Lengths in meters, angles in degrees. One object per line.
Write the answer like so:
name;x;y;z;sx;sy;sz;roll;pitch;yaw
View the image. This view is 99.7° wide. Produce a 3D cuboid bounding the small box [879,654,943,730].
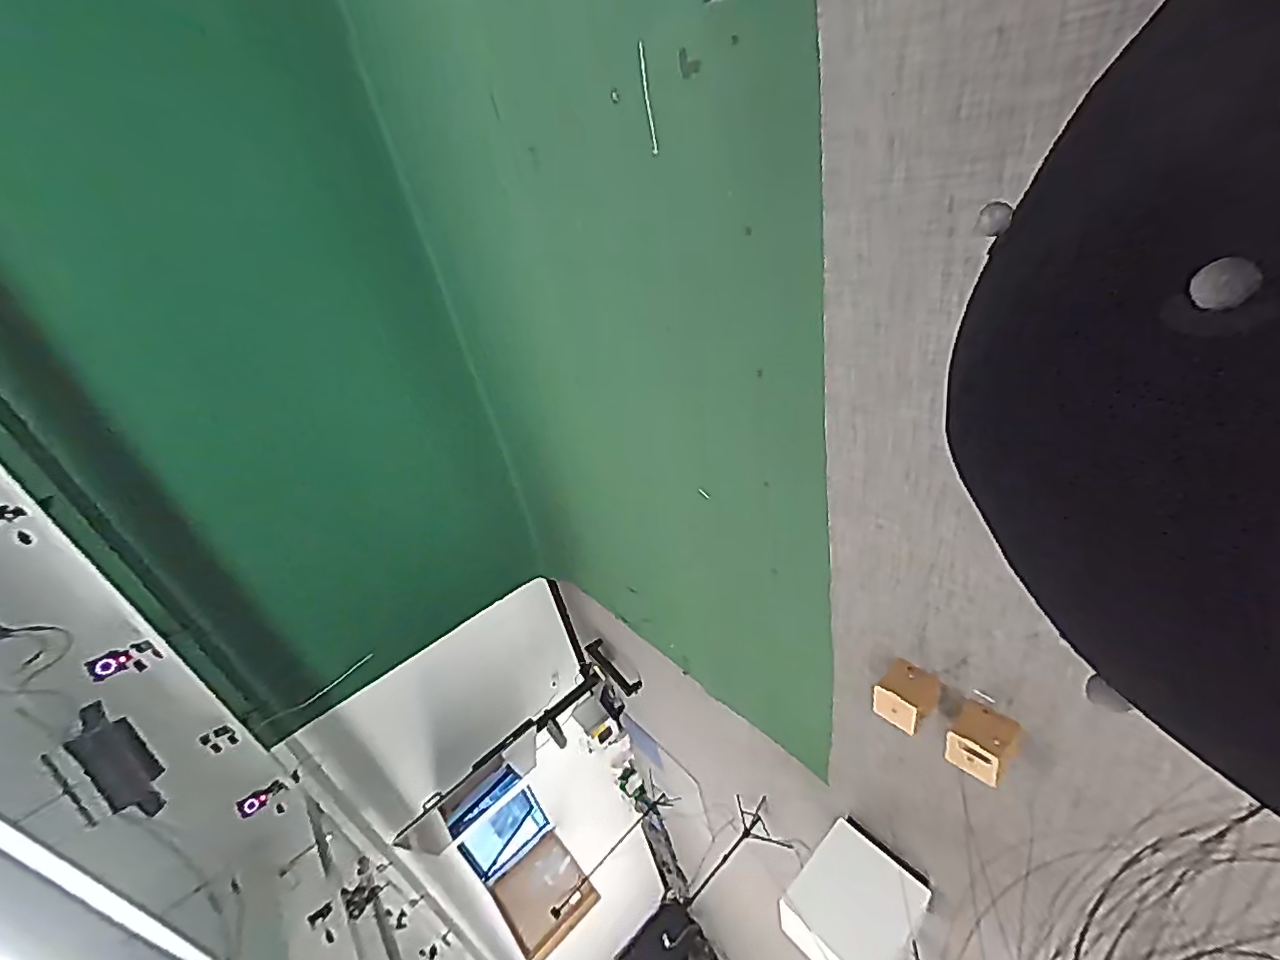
small box;1.060;0.825;2.116;0.168;0.176;0.179;25;137;45
